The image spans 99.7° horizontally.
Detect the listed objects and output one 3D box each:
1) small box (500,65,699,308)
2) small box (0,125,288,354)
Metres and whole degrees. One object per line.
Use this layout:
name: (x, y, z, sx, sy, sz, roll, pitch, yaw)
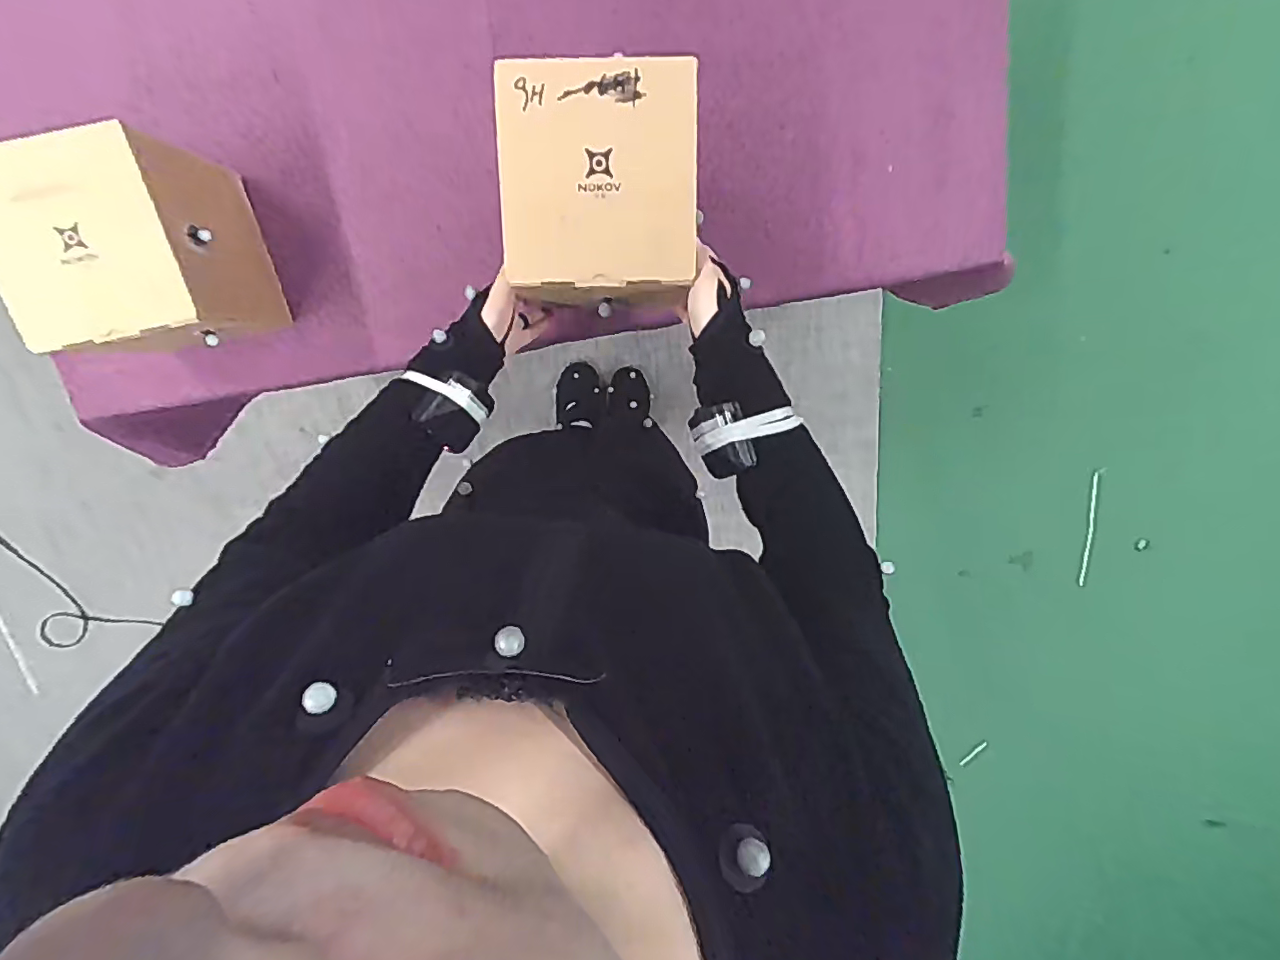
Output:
small box: (-0.033, -0.267, 0.534, 0.168, 0.176, 0.179, -1, 101, 0)
small box: (-0.519, -0.239, 0.574, 0.168, 0.176, 0.179, -11, 105, -2)
